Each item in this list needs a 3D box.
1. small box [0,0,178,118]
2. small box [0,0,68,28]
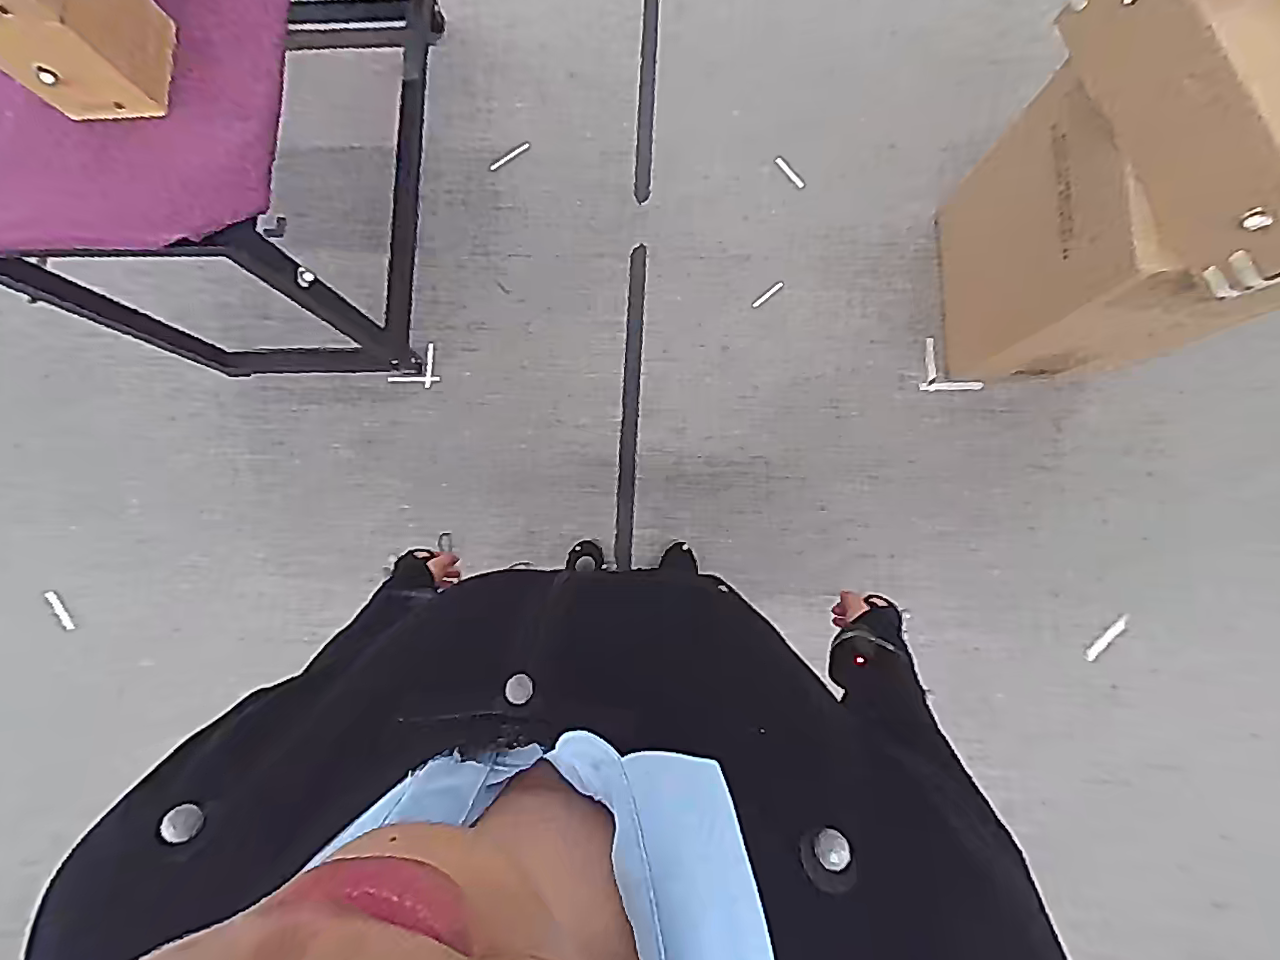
[{"bbox_3d":[-0.868,-0.695,0.836,0.168,0.176,0.179,-2,82,2],"label":"small box"},{"bbox_3d":[-0.869,-0.717,0.673,0.168,0.176,0.179,-2,83,2],"label":"small box"}]
